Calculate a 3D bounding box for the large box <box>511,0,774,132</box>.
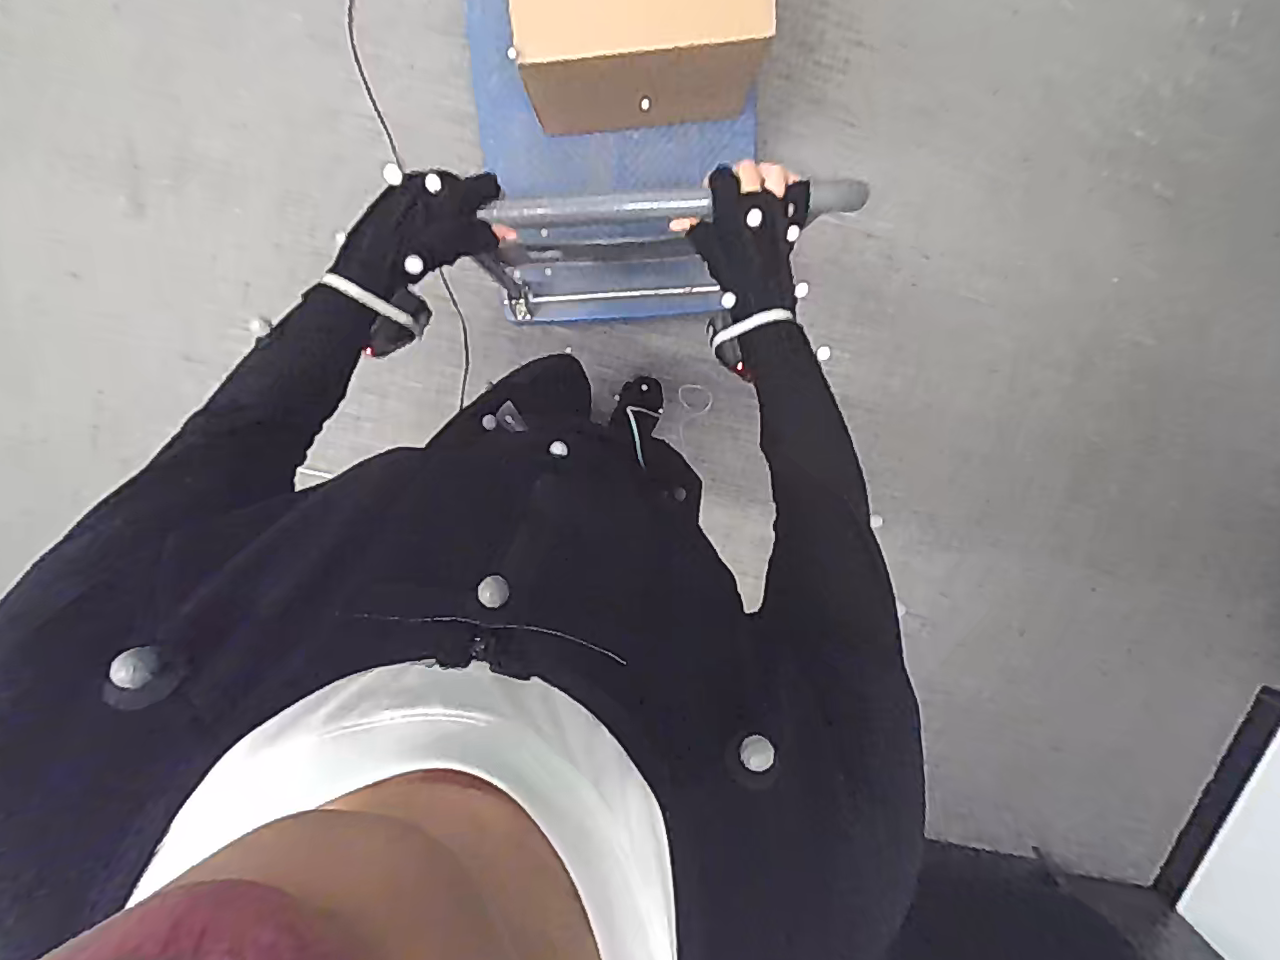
[{"bbox_3d":[-0.005,-0.851,0.943,0.408,0.320,0.320,-6,104,1],"label":"large box"}]
